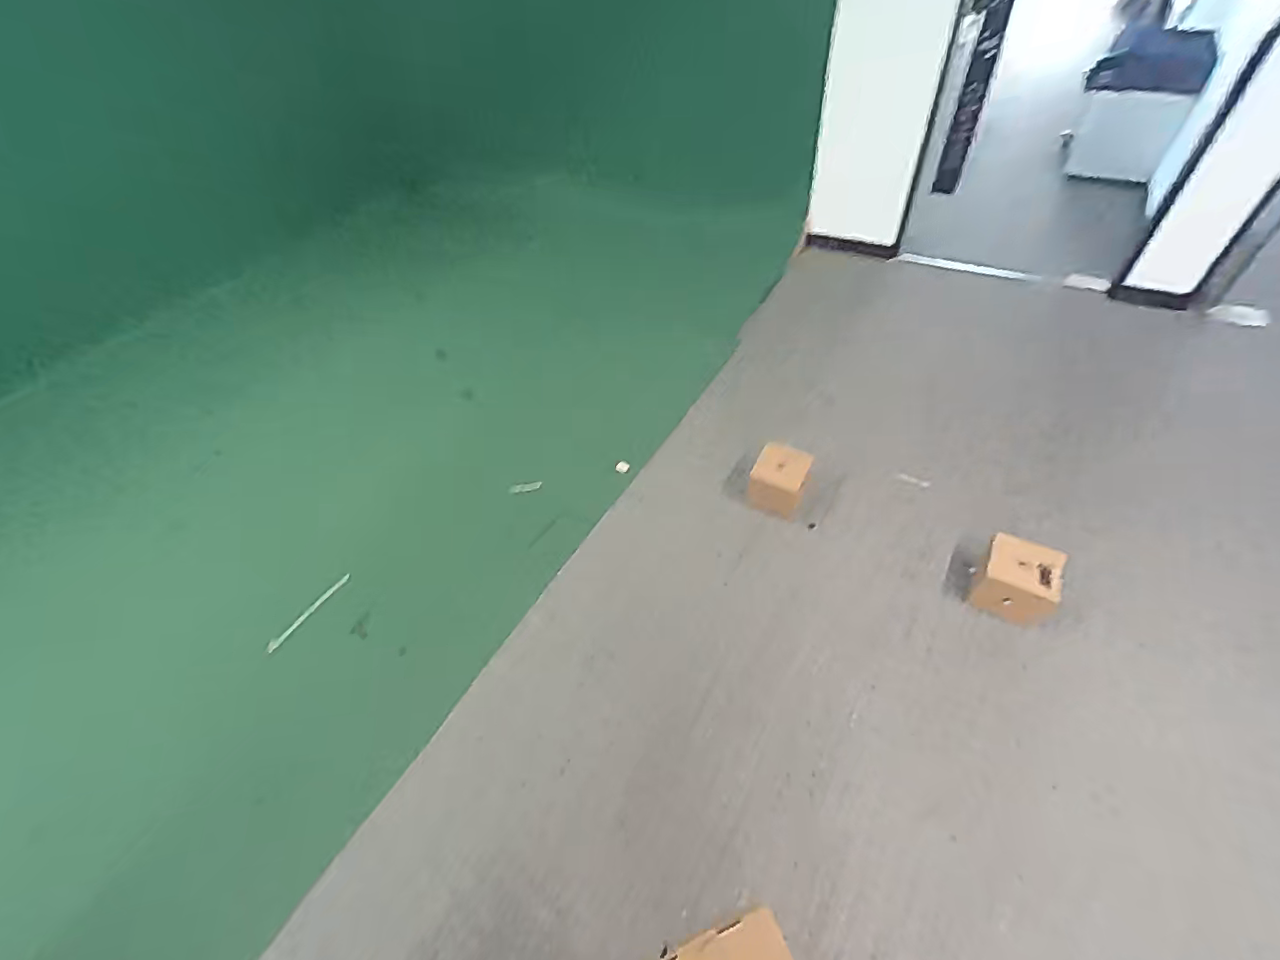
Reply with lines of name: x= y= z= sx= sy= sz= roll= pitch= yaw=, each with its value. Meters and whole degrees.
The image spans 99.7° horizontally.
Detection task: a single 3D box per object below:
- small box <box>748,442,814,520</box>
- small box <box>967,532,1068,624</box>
small box: x=0.477 y=0.007 z=1.844 sx=0.168 sy=0.176 sz=0.179 roll=22 pitch=56 yaw=23
small box: x=1.063 y=0.283 z=1.530 sx=0.179 sy=0.176 sz=0.168 roll=22 pitch=56 yaw=24
